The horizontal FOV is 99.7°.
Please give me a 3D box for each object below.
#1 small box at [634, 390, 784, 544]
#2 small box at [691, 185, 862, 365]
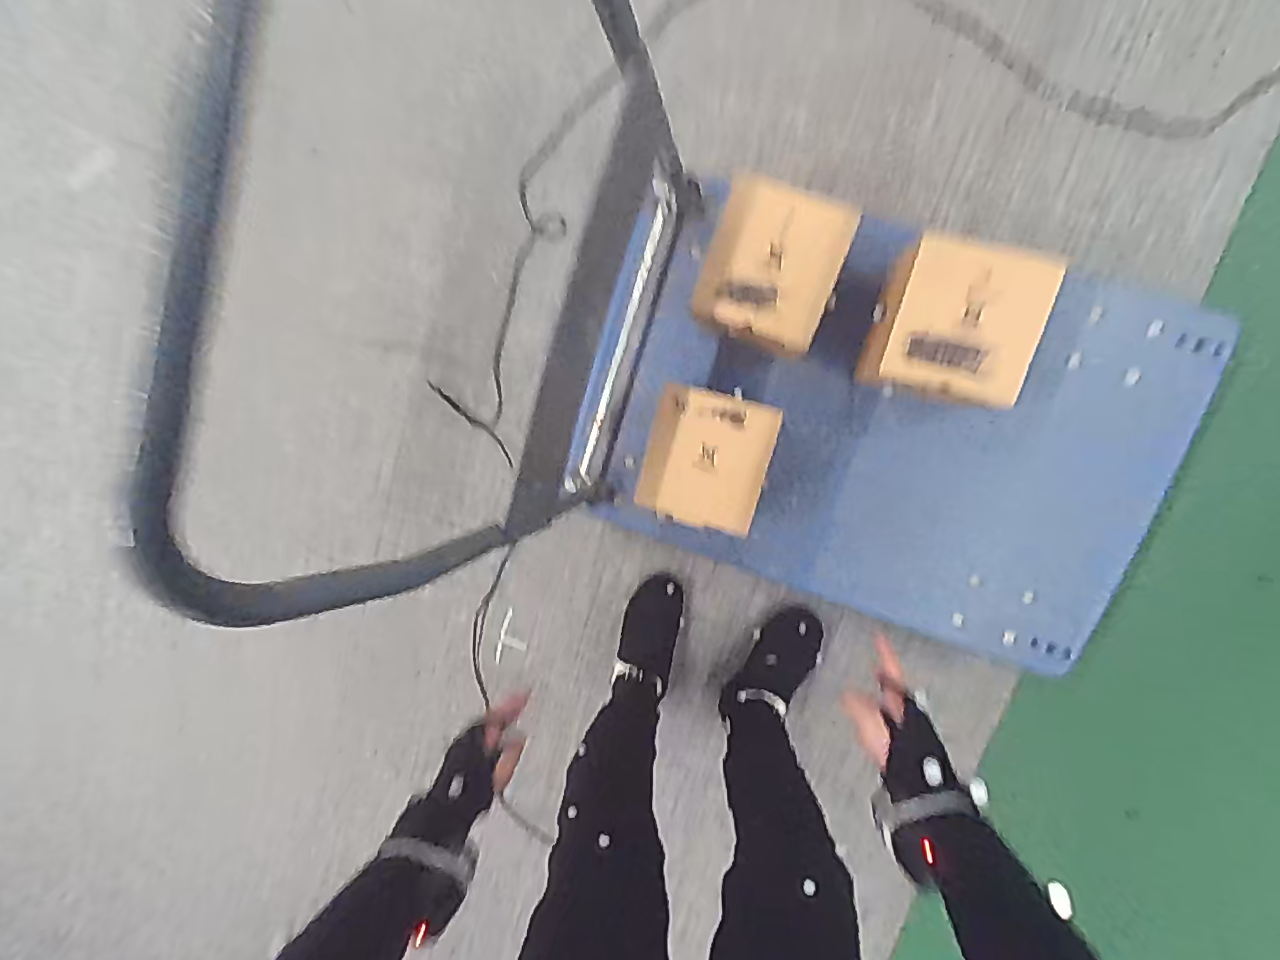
[{"bbox_3d":[0.105,-0.027,0.809,0.168,0.176,0.179,17,99,7],"label":"small box"},{"bbox_3d":[0.186,-0.274,0.767,0.168,0.176,0.179,22,99,7],"label":"small box"}]
